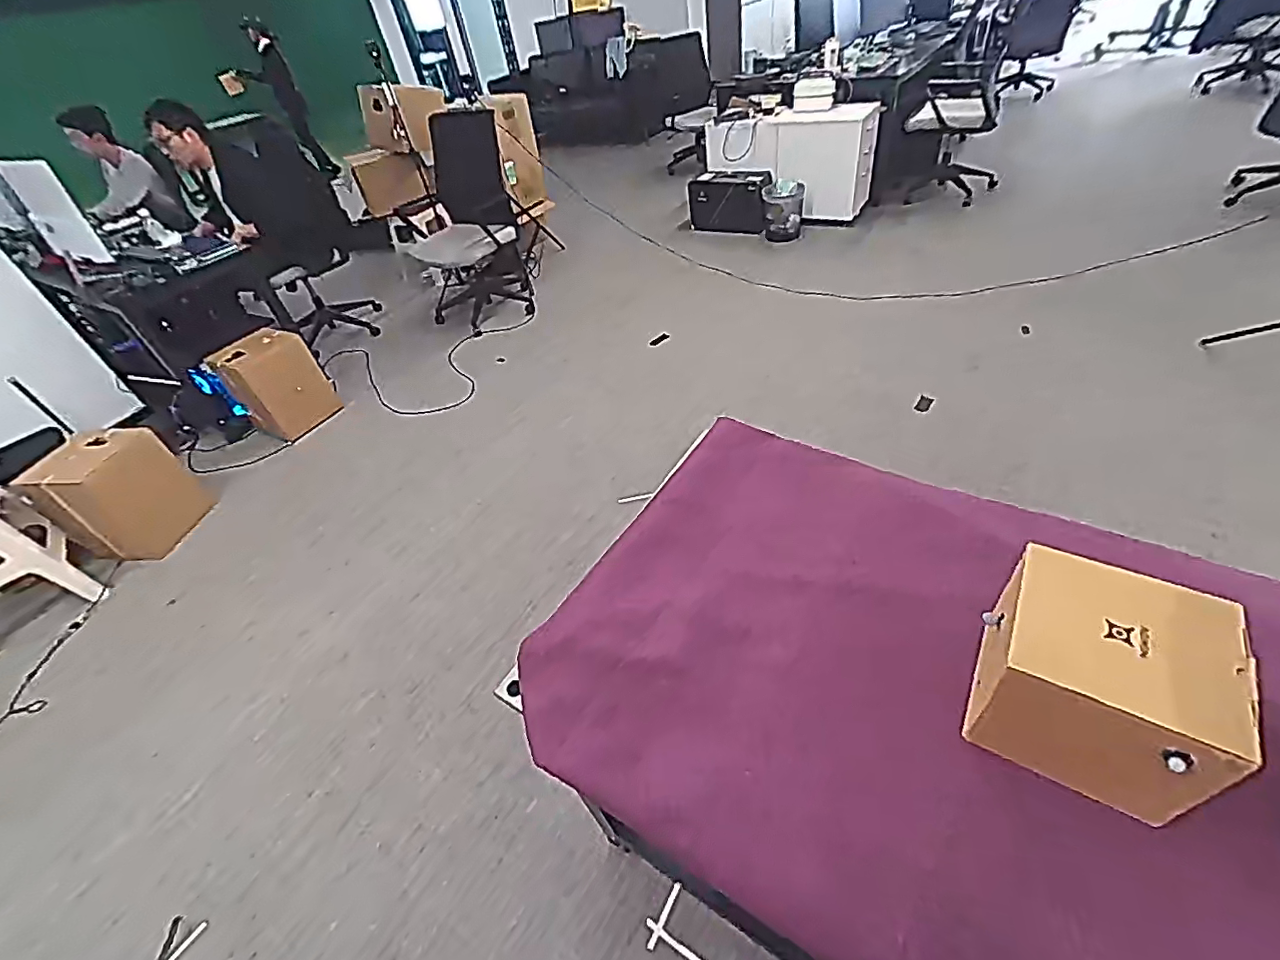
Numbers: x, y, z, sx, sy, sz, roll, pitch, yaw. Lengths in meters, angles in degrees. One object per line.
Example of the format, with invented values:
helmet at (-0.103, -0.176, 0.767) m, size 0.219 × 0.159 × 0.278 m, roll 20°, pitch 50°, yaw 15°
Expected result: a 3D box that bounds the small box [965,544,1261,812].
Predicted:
small box at (0.461, 0.201, 0.556) m, size 0.179 × 0.176 × 0.168 m, roll 19°, pitch 50°, yaw 28°
